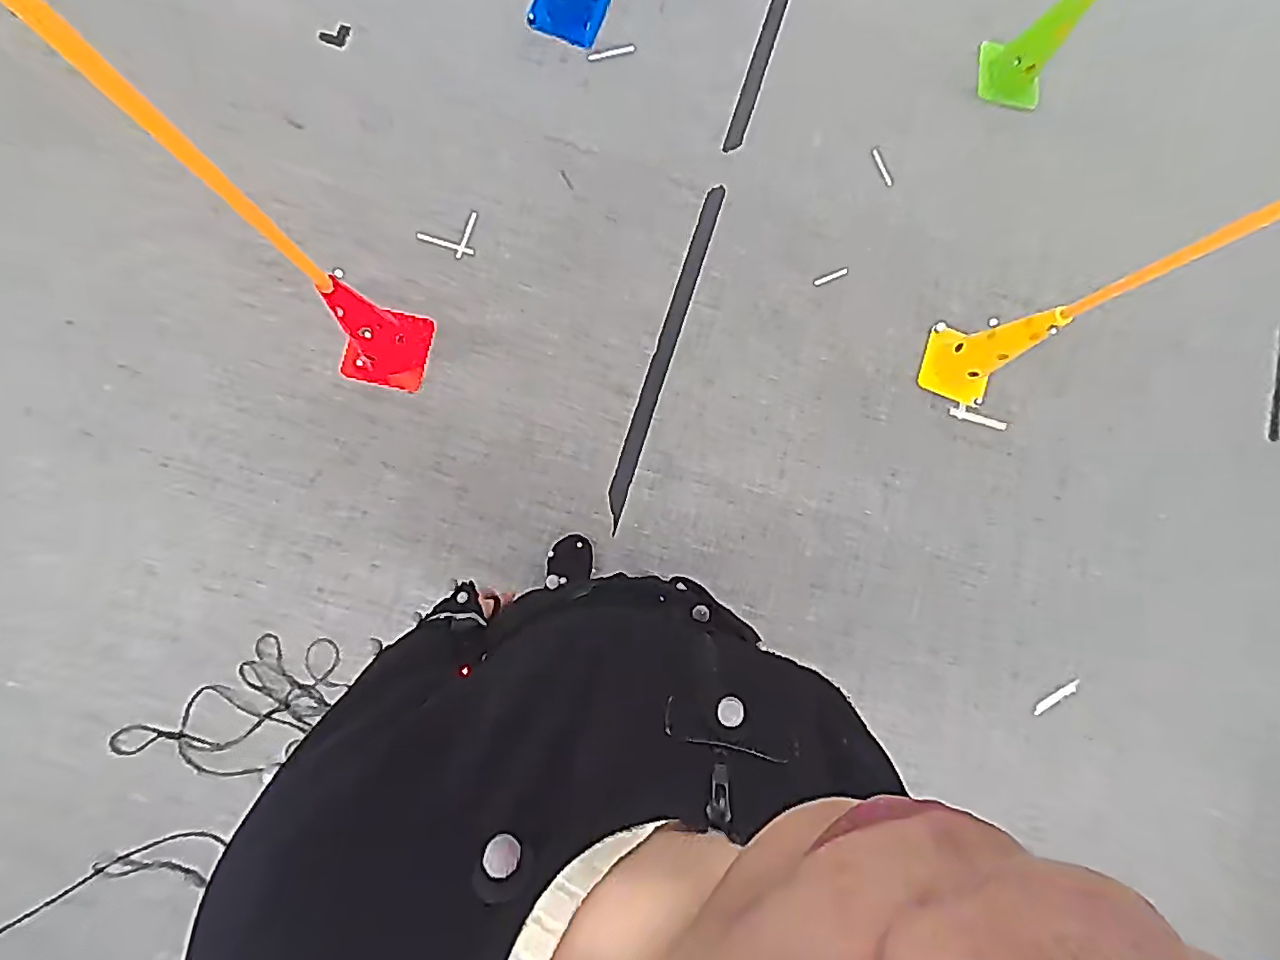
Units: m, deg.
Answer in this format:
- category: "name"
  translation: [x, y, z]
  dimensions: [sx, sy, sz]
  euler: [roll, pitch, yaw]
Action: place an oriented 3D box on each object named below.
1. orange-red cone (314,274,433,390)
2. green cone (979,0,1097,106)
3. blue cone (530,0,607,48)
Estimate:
- category: "orange-red cone"
  translation: [-0.622, -0.359, 1.205]
  dimensions: [0.199, 0.360, 0.198]
  euler: [13, 82, -6]
- category: "green cone"
  translation: [1.170, -1.286, 1.512]
  dimensions: [0.200, 0.368, 0.202]
  euler: [7, 84, -5]
- category: "blue cone"
  translation: [-0.187, -1.364, 1.389]
  dimensions: [0.193, 0.380, 0.192]
  euler: [21, 82, -3]
